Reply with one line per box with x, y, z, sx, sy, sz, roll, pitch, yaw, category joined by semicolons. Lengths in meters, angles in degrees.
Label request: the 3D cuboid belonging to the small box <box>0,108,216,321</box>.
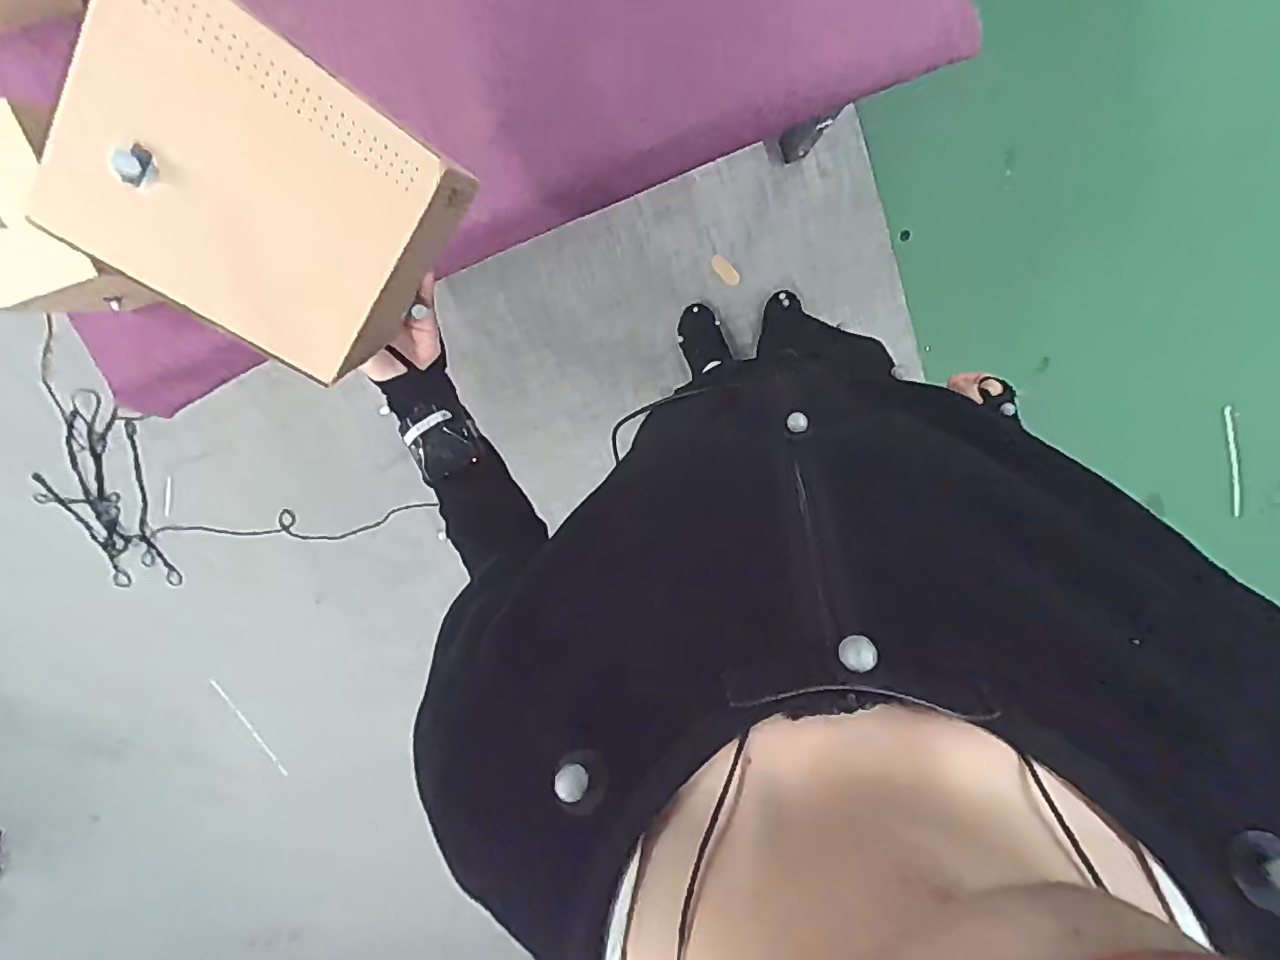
-0.670;-0.300;0.647;0.168;0.176;0.179;-12;107;8;small box

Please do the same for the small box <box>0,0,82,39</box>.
-0.762;-0.593;0.557;0.179;0.176;0.168;-8;109;6;small box
